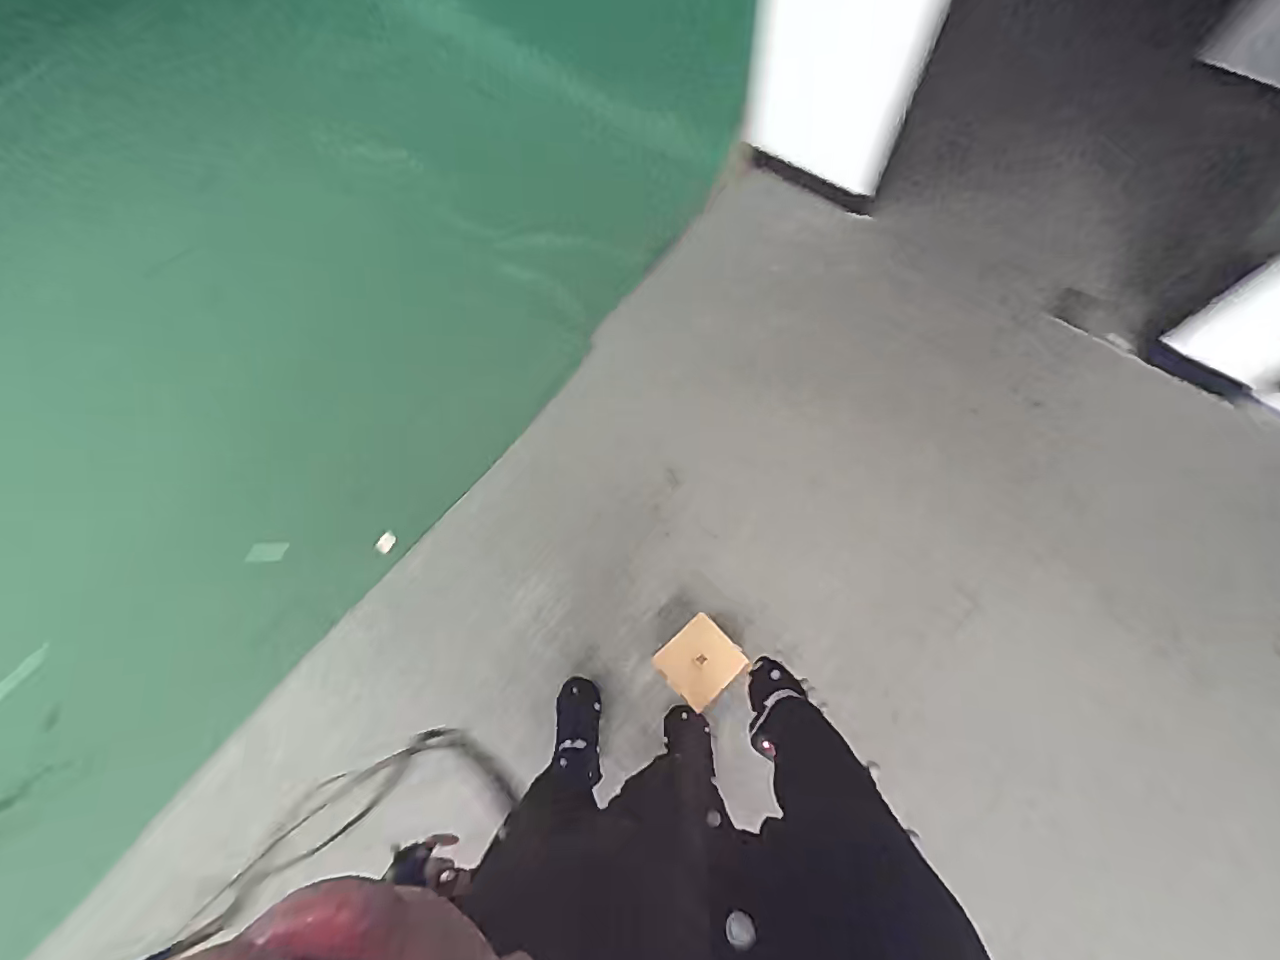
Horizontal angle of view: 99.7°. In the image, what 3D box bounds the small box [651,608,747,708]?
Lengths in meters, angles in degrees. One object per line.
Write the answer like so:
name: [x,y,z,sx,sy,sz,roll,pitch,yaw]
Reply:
small box: [0.145,0.450,1.379,0.179,0.176,0.168,-41,73,-9]
